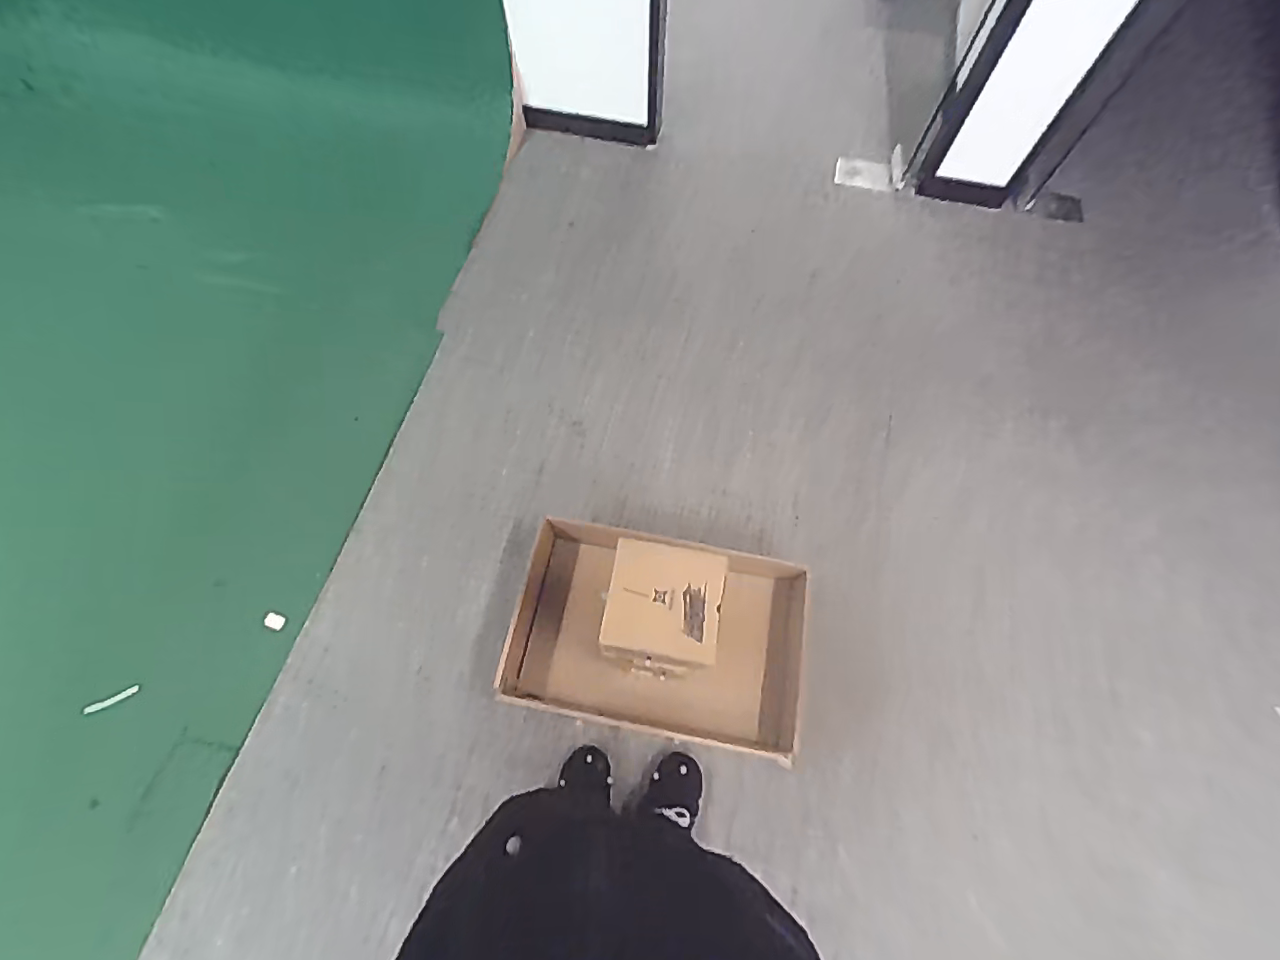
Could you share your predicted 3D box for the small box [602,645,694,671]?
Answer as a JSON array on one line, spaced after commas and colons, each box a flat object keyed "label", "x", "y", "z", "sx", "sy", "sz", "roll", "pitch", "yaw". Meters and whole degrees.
[{"label": "small box", "x": 0.027, "y": 0.264, "z": 1.034, "sx": 0.168, "sy": 0.176, "sz": 0.179, "roll": 8, "pitch": 69, "yaw": 3}]

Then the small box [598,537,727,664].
[{"label": "small box", "x": 0.037, "y": 0.207, "z": 0.898, "sx": 0.179, "sy": 0.176, "sz": 0.168, "roll": 10, "pitch": 69, "yaw": 4}]
